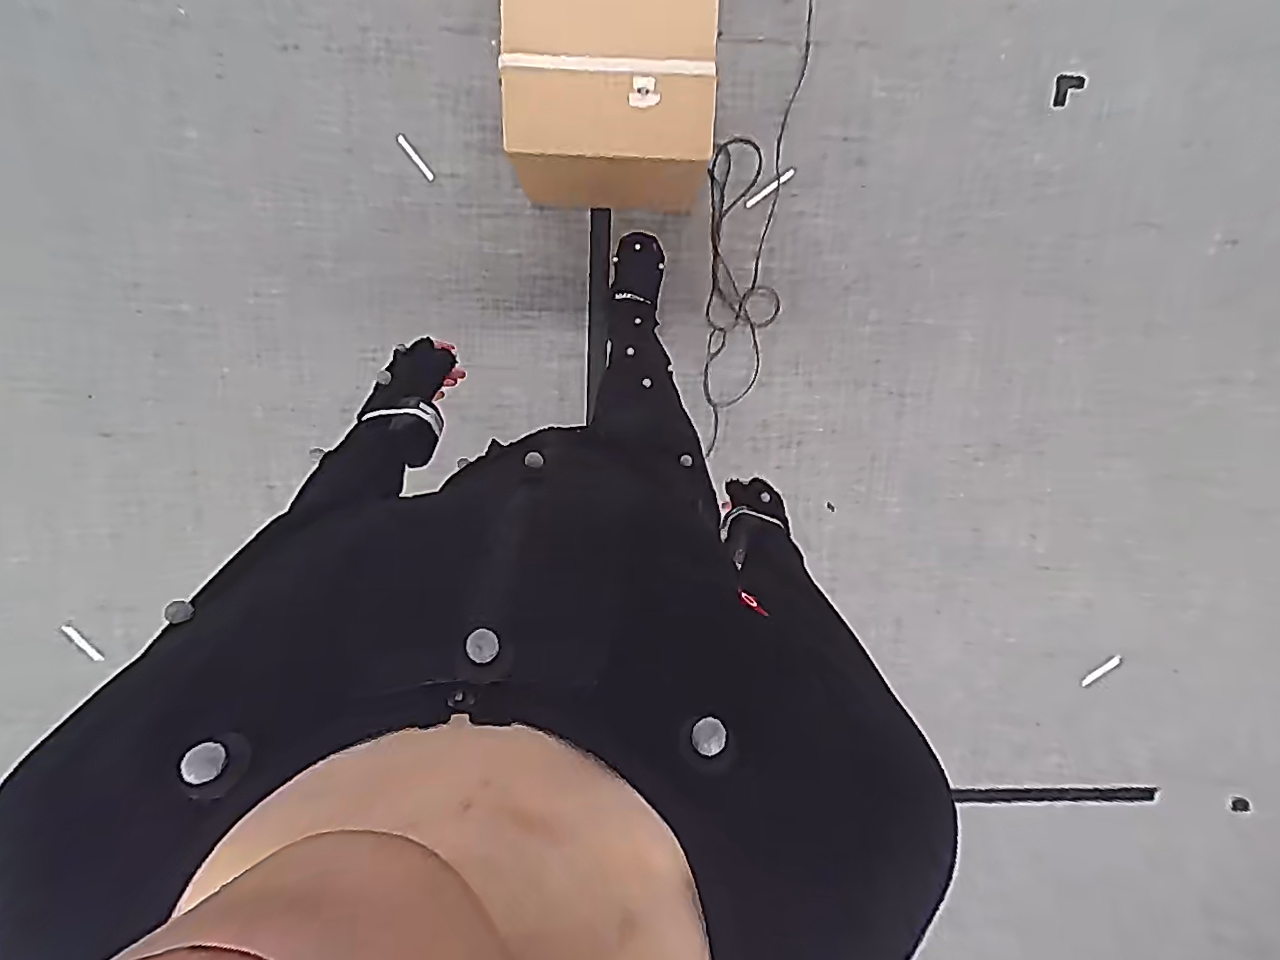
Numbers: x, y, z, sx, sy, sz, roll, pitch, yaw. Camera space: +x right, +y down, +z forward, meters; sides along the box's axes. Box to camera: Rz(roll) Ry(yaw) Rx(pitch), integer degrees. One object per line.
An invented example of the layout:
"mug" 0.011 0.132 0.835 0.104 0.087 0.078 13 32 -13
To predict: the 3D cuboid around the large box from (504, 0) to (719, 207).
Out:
"large box" -0.061 -0.804 1.163 0.408 0.320 0.320 1 100 -2
